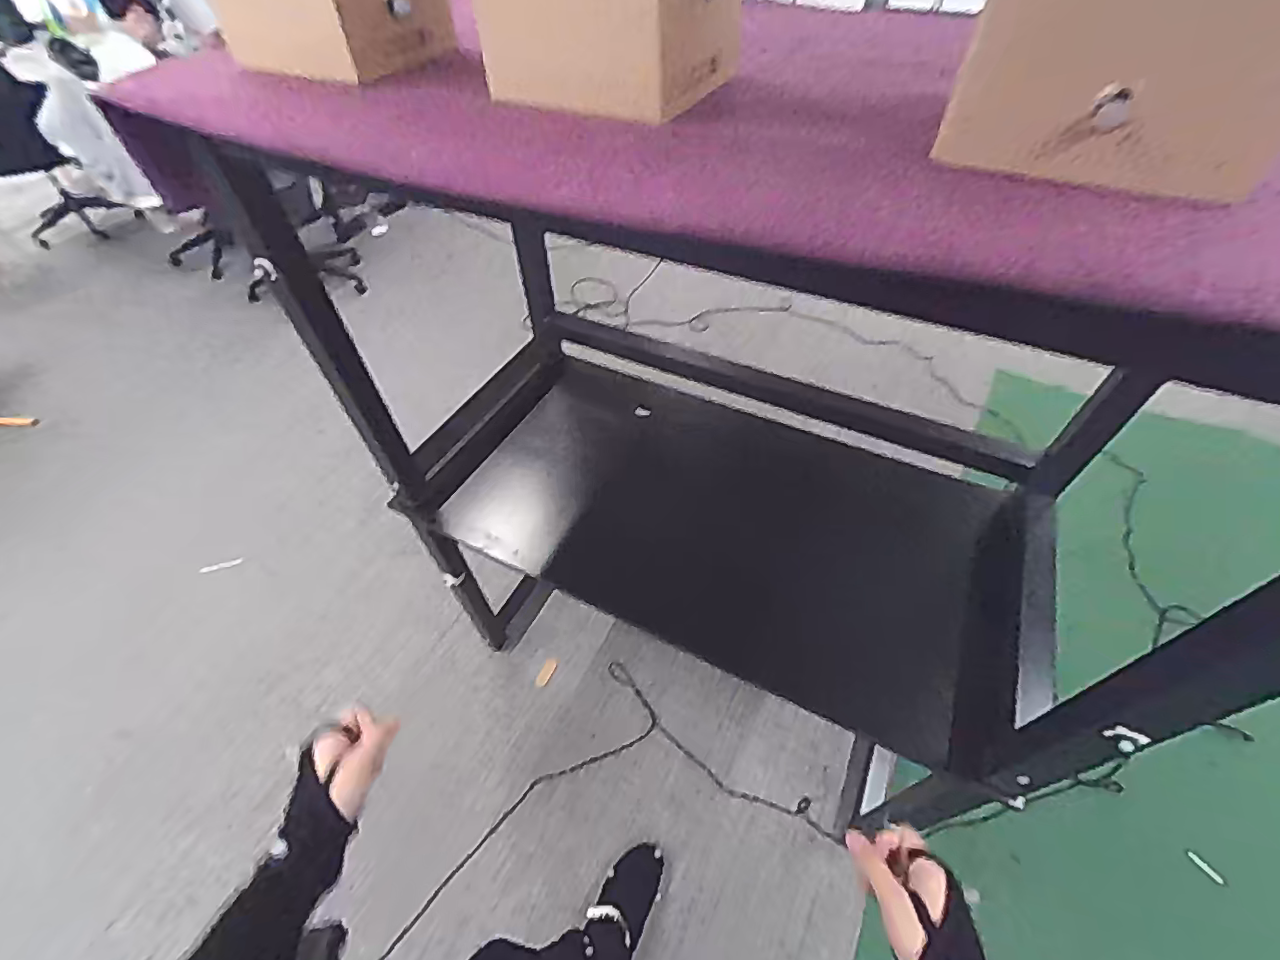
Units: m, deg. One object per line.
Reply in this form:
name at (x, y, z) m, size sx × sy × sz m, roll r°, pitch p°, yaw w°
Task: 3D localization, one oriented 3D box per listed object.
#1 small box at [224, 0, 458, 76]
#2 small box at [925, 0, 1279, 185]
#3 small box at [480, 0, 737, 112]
small box at (-0.320, -0.536, 0.551) m, size 0.179 × 0.176 × 0.168 m, roll 19°, pitch 53°, yaw 16°
small box at (0.308, -0.304, 0.332) m, size 0.179 × 0.176 × 0.168 m, roll 21°, pitch 52°, yaw 18°
small box at (-0.021, -0.431, 0.452) m, size 0.179 × 0.176 × 0.168 m, roll 21°, pitch 53°, yaw 19°
